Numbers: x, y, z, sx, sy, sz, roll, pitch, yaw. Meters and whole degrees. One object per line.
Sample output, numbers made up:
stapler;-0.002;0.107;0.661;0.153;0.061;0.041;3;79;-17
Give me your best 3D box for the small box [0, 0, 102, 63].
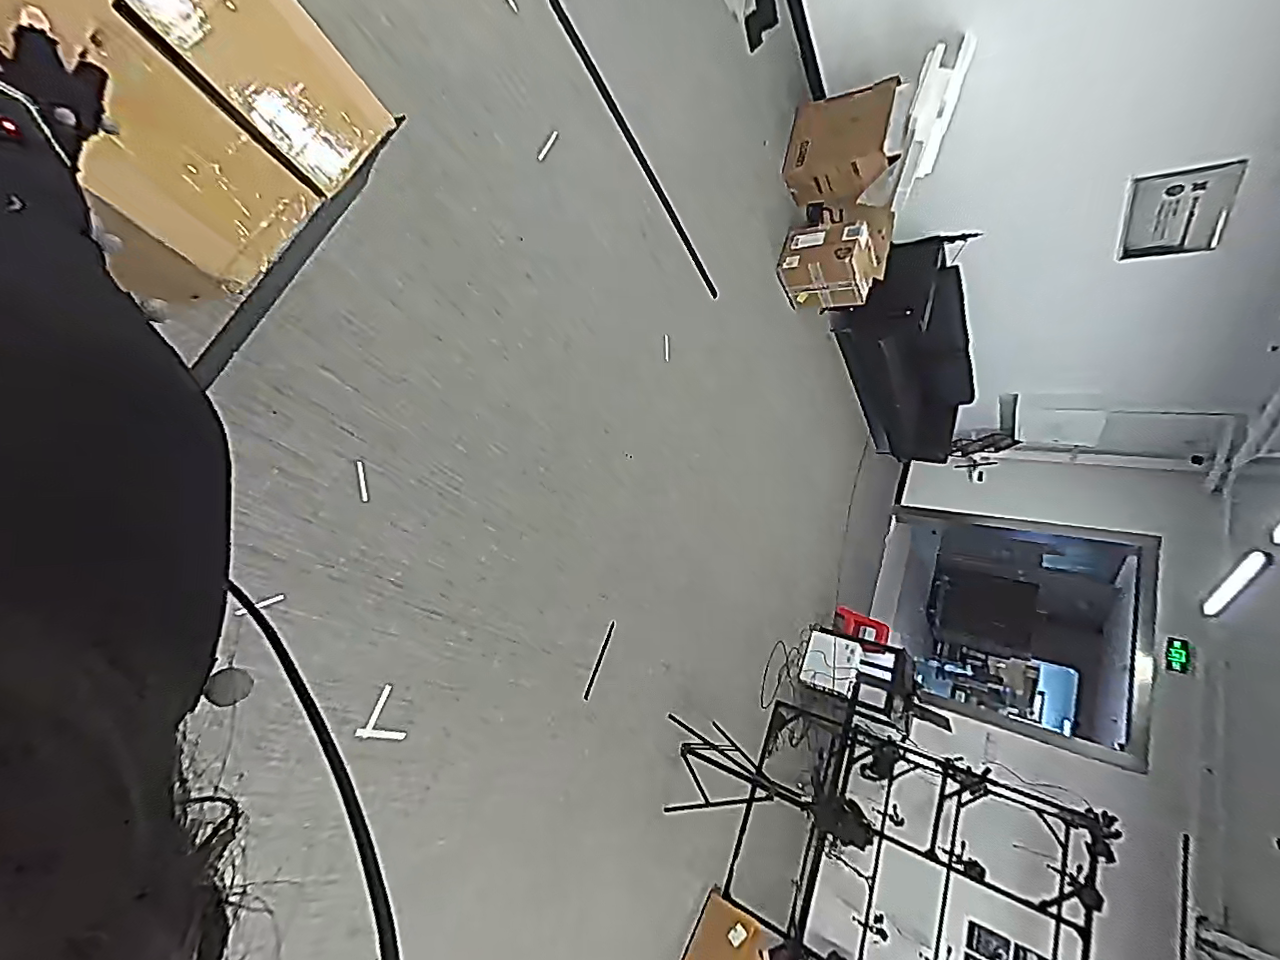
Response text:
small box;-0.606;-0.517;0.487;0.168;0.176;0.179;-57;145;-1
